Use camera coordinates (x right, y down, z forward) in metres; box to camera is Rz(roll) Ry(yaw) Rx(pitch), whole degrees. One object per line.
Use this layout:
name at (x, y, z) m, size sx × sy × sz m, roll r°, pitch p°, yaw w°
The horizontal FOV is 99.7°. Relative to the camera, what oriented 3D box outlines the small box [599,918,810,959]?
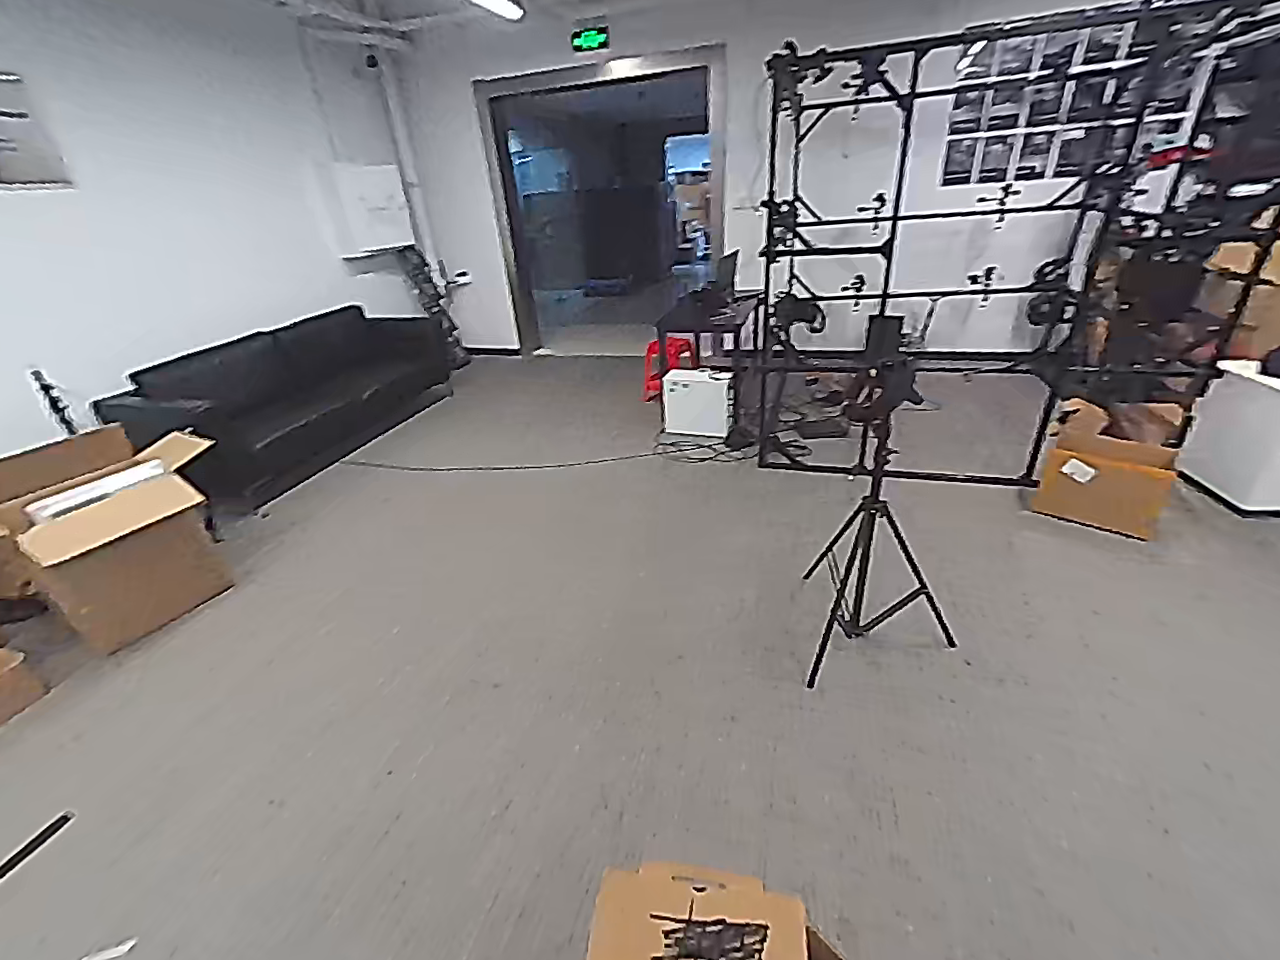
small box at (0.044, 0.476, 0.408) m, size 0.168 × 0.176 × 0.179 m, roll 0°, pitch 37°, yaw 10°
